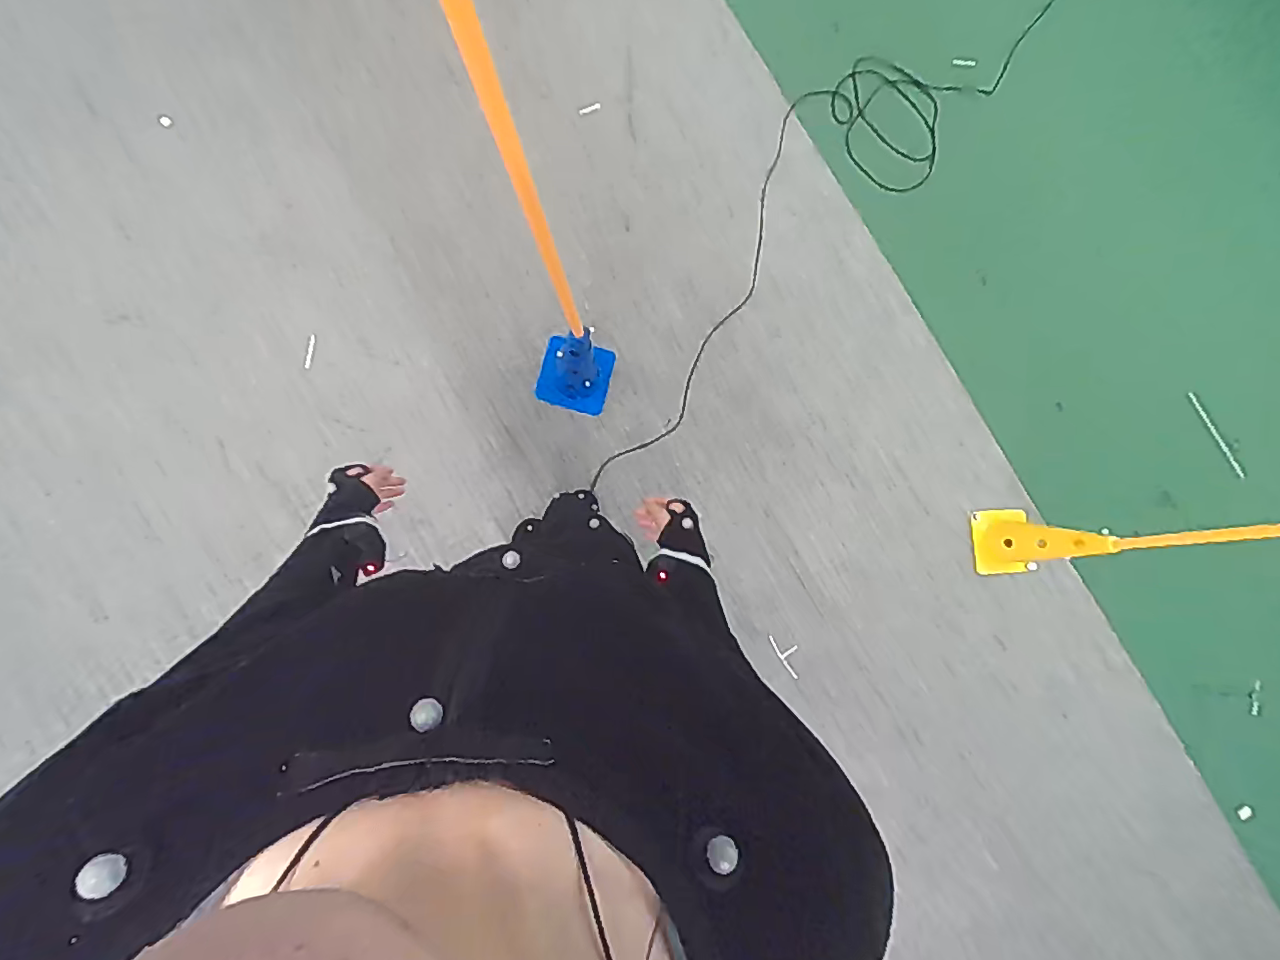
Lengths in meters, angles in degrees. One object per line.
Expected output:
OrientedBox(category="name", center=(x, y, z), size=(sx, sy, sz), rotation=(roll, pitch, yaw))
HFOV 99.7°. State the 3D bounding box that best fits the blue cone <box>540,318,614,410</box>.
OrientedBox(category="blue cone", center=(-0.159, -0.314, 1.369), size=(0.193, 0.380, 0.192), rotation=(13, 84, -6))
